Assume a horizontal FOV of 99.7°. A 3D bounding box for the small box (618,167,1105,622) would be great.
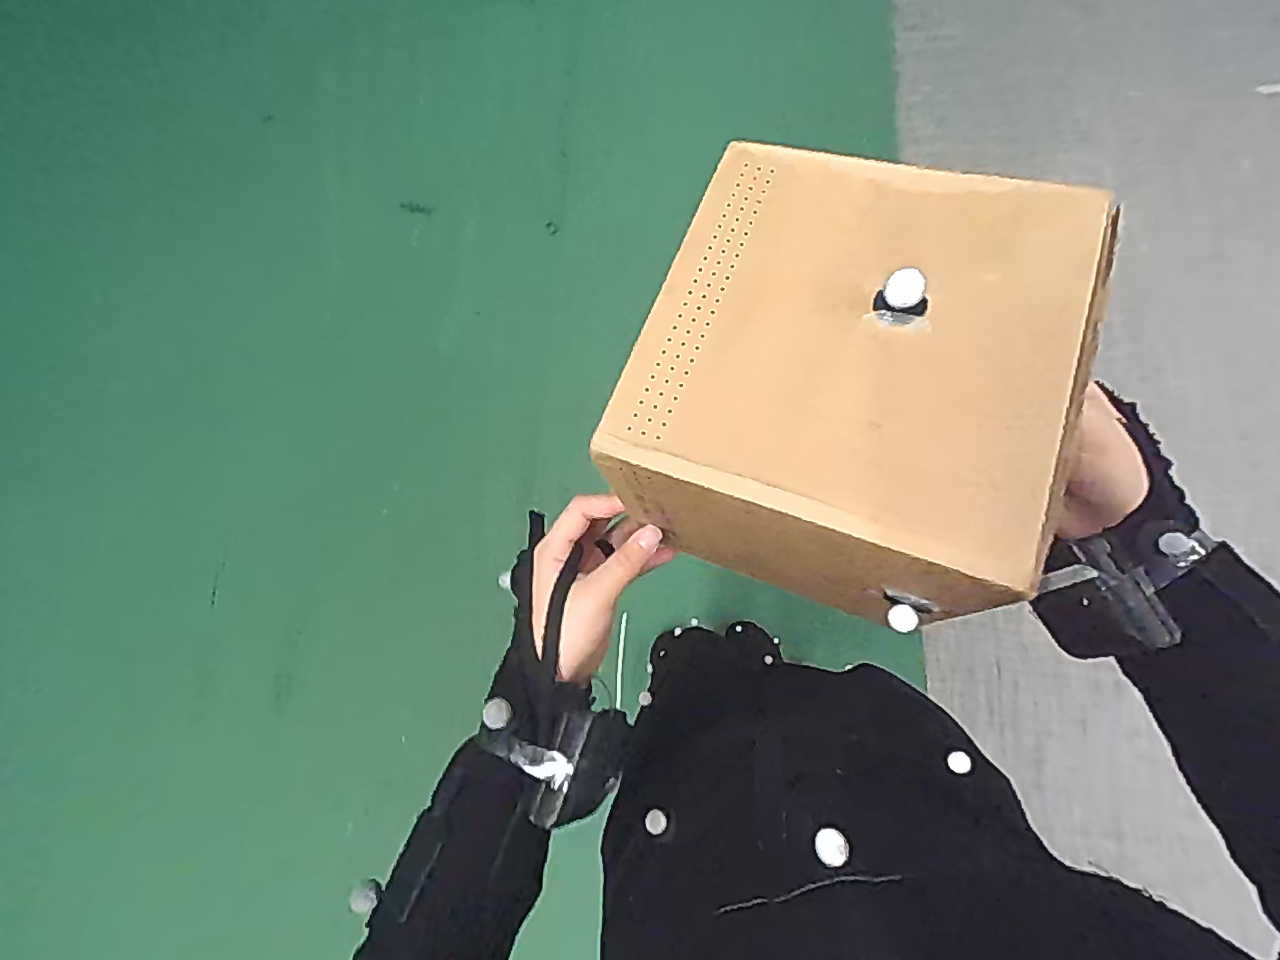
[{"bbox_3d":[0.104,-0.040,0.304,0.176,0.168,0.179,18,75,17],"label":"small box"}]
